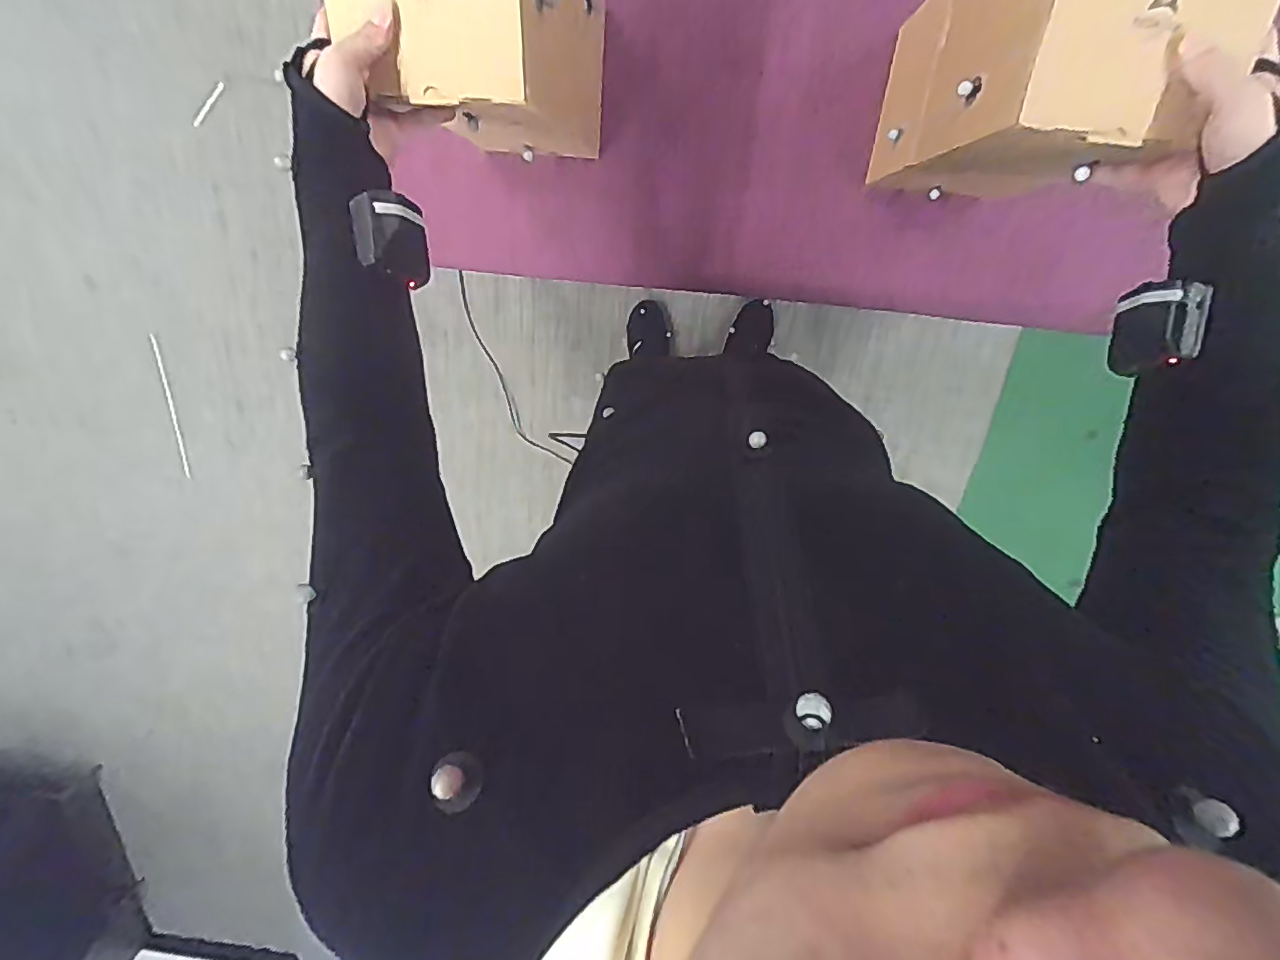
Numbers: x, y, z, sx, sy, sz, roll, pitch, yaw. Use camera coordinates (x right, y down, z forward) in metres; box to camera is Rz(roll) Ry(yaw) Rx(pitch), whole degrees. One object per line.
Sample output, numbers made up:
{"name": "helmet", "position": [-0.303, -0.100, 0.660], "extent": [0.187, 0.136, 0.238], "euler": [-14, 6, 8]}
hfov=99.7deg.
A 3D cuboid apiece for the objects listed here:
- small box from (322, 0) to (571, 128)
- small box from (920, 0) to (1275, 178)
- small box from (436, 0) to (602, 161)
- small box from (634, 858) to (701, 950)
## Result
{"name": "small box", "position": [-0.163, -0.434, 0.488], "extent": [0.168, 0.176, 0.179], "euler": [6, 119, 7]}
{"name": "small box", "position": [0.370, -0.373, 0.460], "extent": [0.168, 0.176, 0.179], "euler": [6, 110, -2]}
{"name": "small box", "position": [-0.140, -0.503, 0.646], "extent": [0.168, 0.176, 0.179], "euler": [7, 112, 4]}
{"name": "small box", "position": [0.092, 1.386, 1.777], "extent": [0.179, 0.176, 0.168], "euler": [16, 112, -1]}
